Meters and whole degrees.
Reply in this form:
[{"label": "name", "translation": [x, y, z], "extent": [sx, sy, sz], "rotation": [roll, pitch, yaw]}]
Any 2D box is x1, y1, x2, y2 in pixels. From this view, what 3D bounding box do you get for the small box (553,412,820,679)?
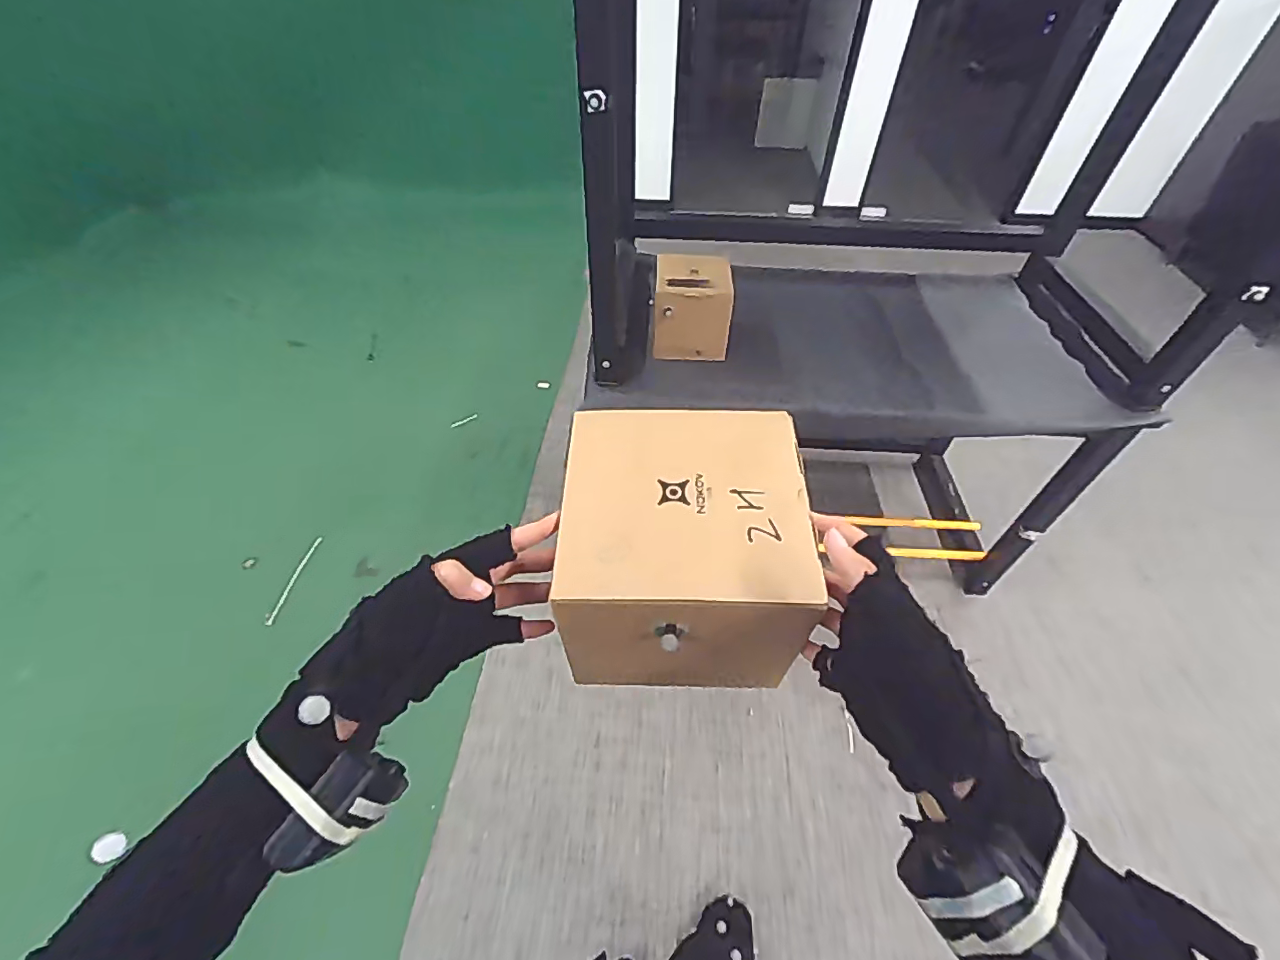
[{"label": "small box", "translation": [0.033, 0.060, 0.458], "extent": [0.179, 0.176, 0.168], "rotation": [1, 53, 1]}]
